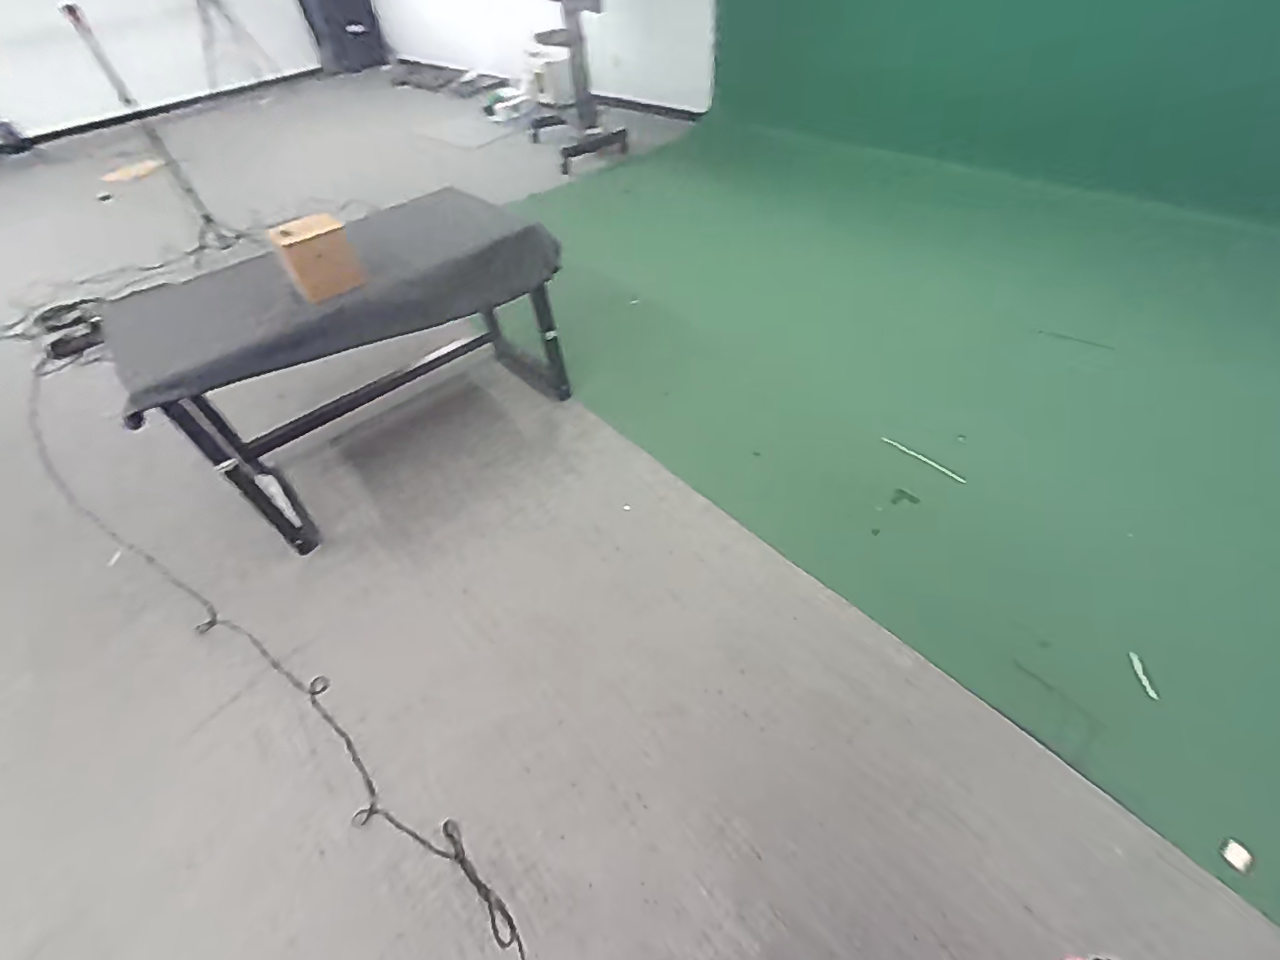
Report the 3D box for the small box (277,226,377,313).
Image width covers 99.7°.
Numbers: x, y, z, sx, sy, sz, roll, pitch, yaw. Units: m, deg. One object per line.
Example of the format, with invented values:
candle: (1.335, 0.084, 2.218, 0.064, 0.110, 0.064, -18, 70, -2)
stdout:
small box: (-0.910, -0.615, 1.584, 0.179, 0.176, 0.168, -34, 52, -23)
